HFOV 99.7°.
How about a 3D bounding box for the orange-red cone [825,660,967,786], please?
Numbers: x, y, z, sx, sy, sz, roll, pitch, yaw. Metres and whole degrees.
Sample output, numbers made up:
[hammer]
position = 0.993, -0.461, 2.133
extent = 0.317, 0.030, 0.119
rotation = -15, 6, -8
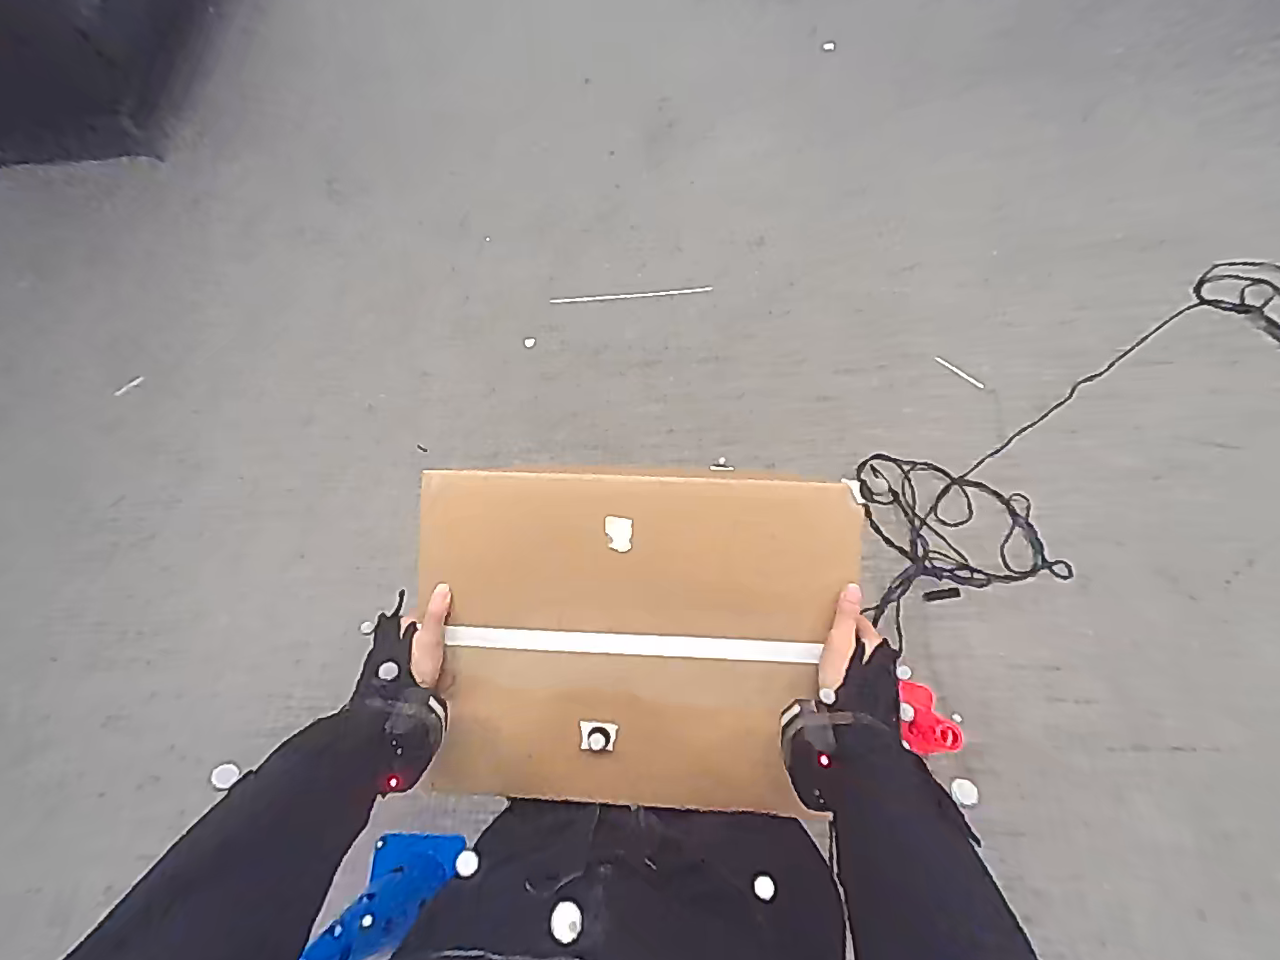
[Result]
[orange-red cone]
position = 0.478, 0.433, 0.948
extent = 0.199, 0.360, 0.198
rotation = 18, 73, 12

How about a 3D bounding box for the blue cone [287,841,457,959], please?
[blue cone]
position = -0.488, 0.785, 0.946
extent = 0.192, 0.380, 0.193
rotation = -2, 68, 7
